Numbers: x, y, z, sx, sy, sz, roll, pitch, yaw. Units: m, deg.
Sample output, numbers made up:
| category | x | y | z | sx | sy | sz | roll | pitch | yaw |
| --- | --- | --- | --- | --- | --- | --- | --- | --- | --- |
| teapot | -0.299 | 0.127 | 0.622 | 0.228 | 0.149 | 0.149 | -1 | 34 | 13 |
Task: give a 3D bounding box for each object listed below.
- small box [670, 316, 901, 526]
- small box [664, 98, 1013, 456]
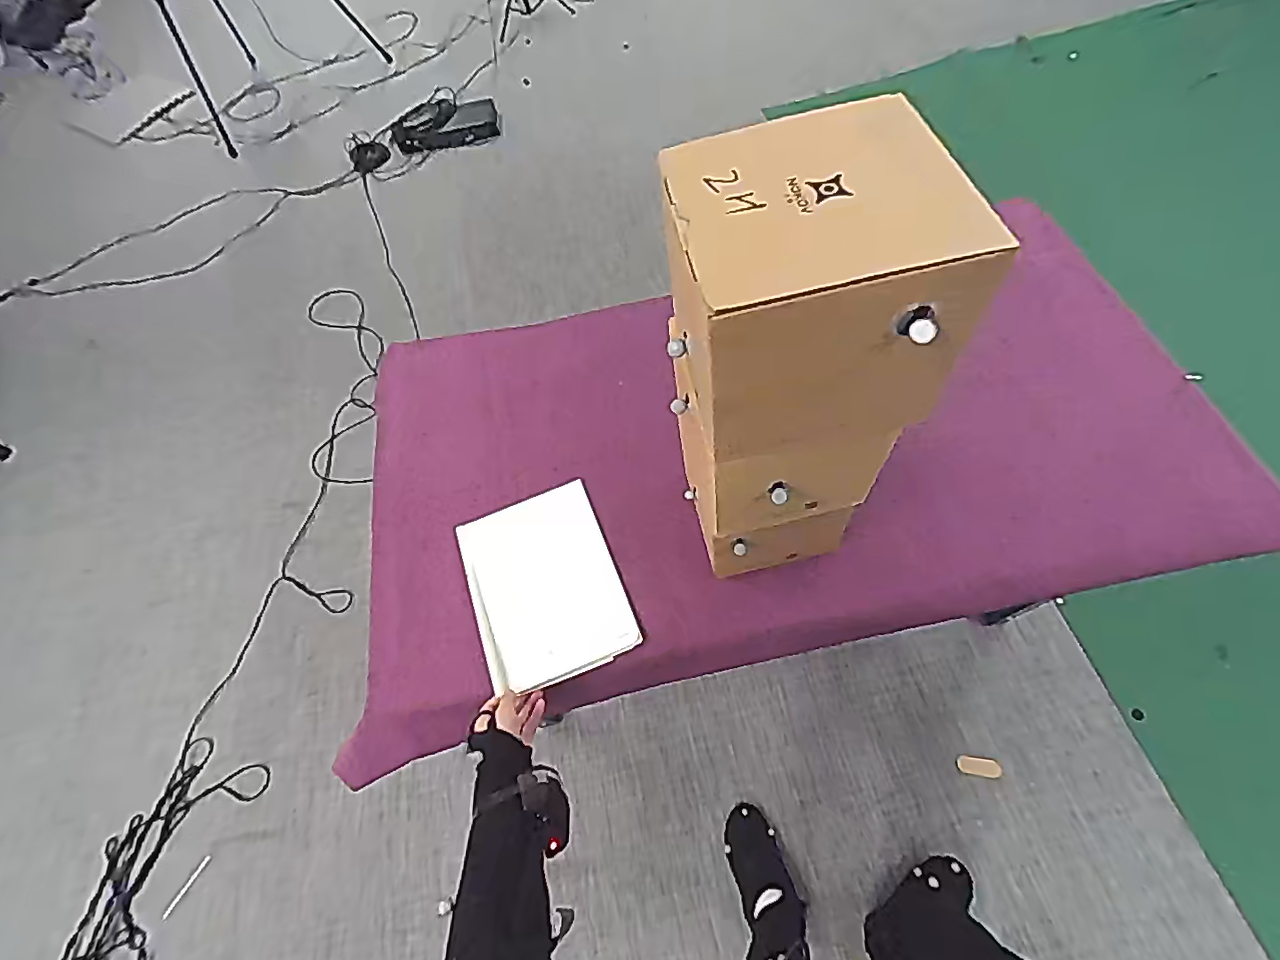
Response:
| category | x | y | z | sx | sy | sz | roll | pitch | yaw |
| --- | --- | --- | --- | --- | --- | --- | --- | --- | --- |
| small box | 0.135 | -0.066 | 0.556 | 0.168 | 0.176 | 0.179 | -13 | 60 | 2 |
| small box | 0.122 | -0.139 | 0.408 | 0.179 | 0.176 | 0.168 | -12 | 60 | 3 |
